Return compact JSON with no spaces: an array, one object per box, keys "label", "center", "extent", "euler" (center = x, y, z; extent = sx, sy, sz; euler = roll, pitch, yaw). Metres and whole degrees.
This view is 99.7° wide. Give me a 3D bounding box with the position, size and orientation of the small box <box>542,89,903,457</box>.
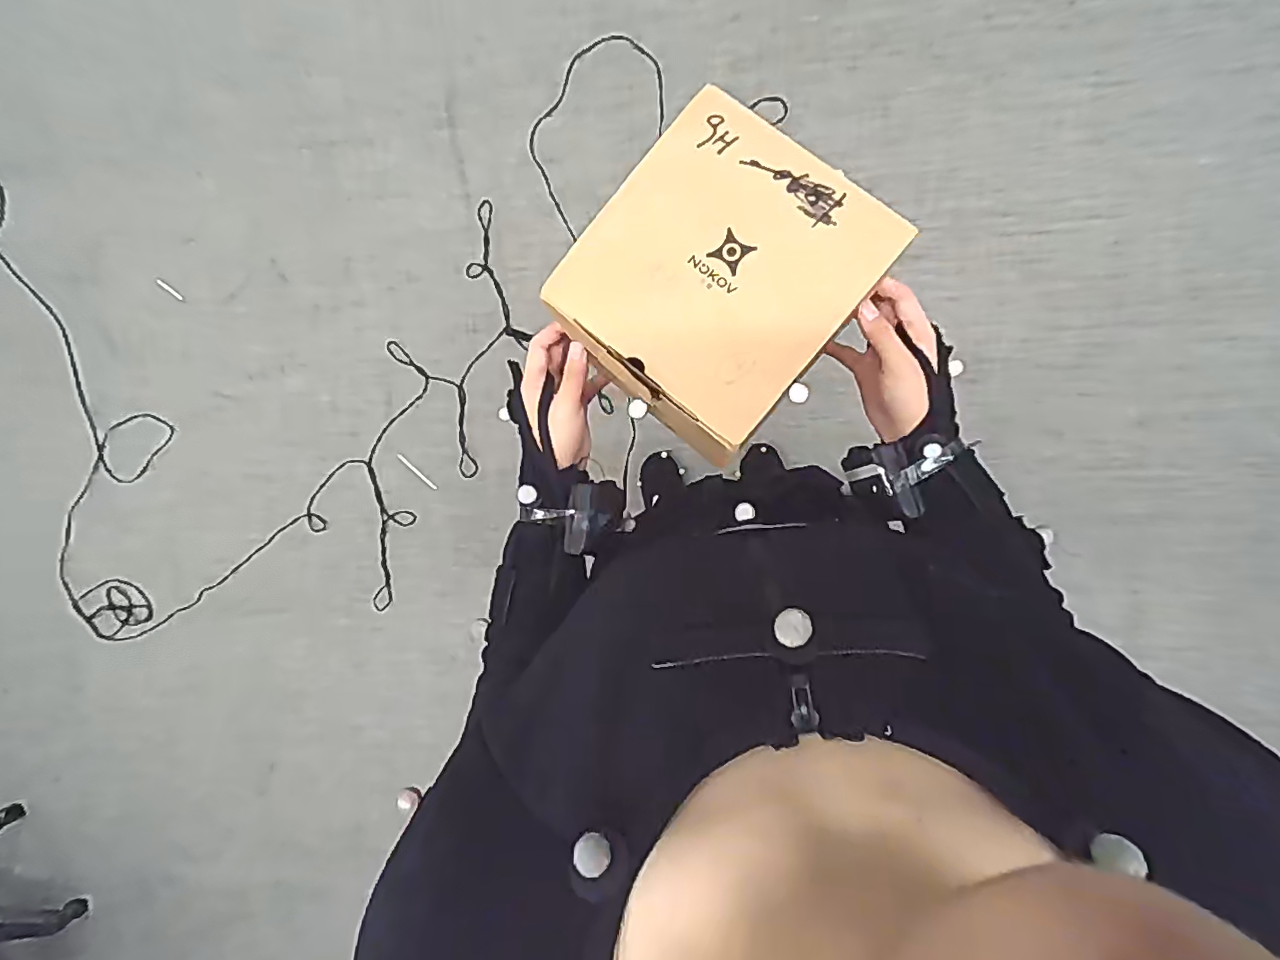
[{"label":"small box","center":[0.059,-0.135,0.424],"extent":[0.168,0.176,0.179],"euler":[40,92,7]}]
